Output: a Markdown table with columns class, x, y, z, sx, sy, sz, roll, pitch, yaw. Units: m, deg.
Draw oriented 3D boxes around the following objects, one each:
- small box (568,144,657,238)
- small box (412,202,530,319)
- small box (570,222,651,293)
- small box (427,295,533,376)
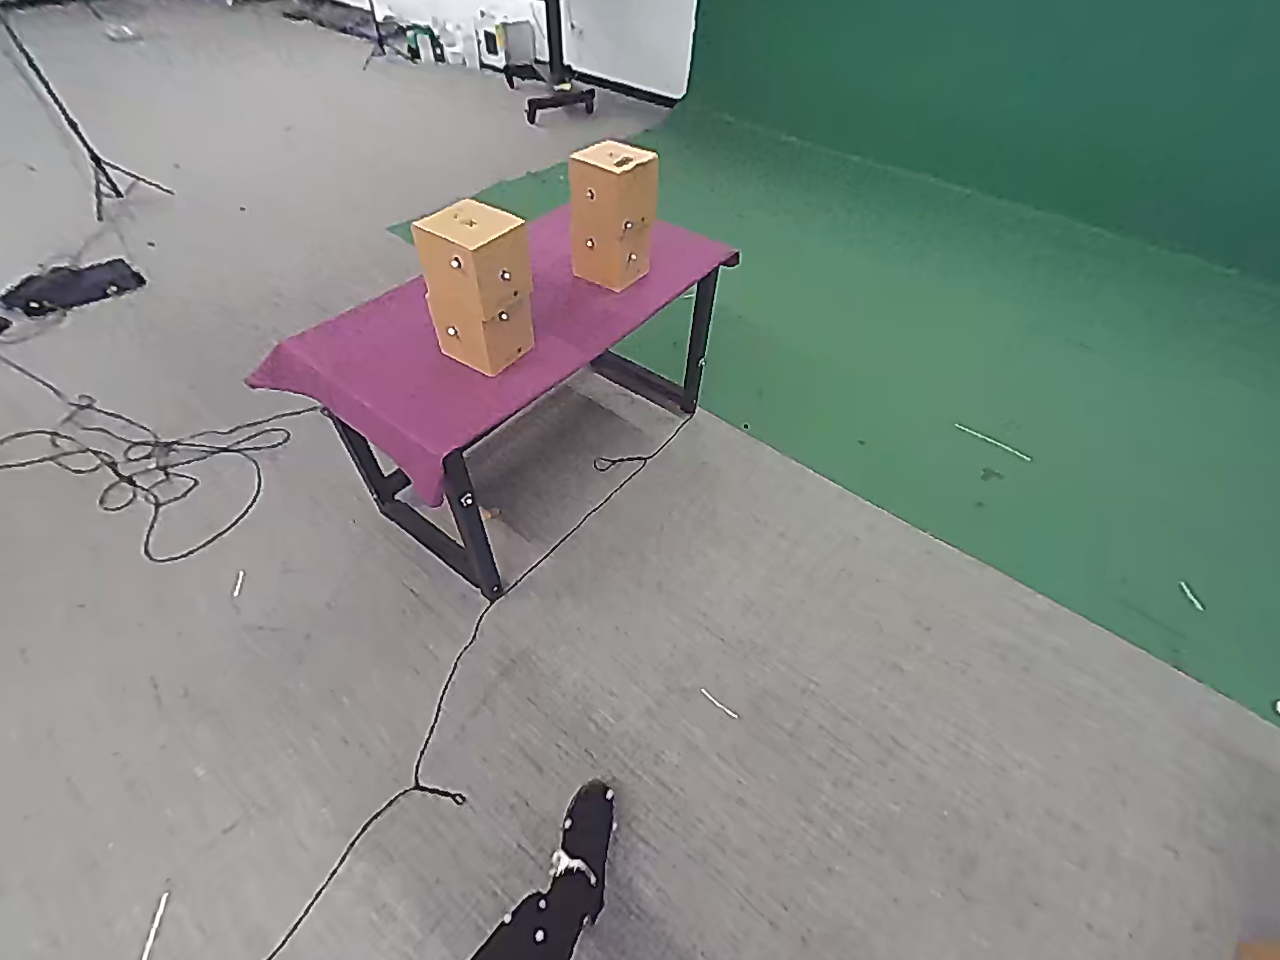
| class | x | y | z | sx | sy | sz | roll | pitch | yaw |
| --- | --- | --- | --- | --- | --- | --- | --- | --- | --- |
| small box | -0.071 | -0.780 | 1.468 | 0.179 | 0.176 | 0.168 | 32 | 56 | 24 |
| small box | -0.365 | -0.483 | 1.204 | 0.179 | 0.176 | 0.168 | 28 | 54 | 19 |
| small box | -0.083 | -0.679 | 1.598 | 0.179 | 0.176 | 0.168 | 29 | 55 | 22 |
| small box | -0.387 | -0.385 | 1.336 | 0.179 | 0.176 | 0.168 | 27 | 55 | 19 |
